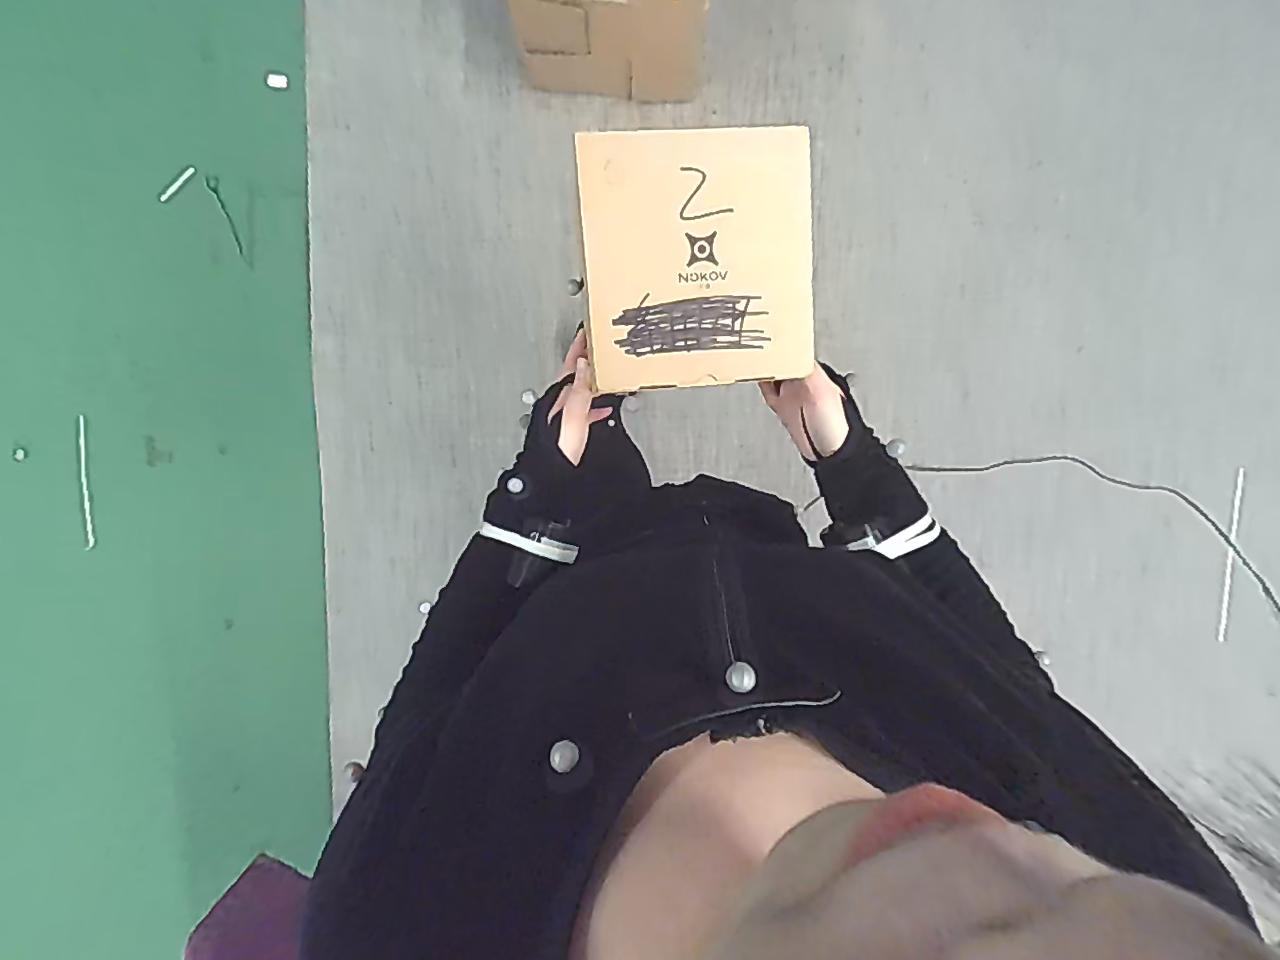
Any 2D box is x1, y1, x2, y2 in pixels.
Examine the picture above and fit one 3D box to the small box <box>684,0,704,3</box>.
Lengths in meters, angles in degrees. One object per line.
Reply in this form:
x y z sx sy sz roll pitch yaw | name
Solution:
0.062 -1.018 0.972 0.168 0.176 0.179 8 95 -2 | small box
